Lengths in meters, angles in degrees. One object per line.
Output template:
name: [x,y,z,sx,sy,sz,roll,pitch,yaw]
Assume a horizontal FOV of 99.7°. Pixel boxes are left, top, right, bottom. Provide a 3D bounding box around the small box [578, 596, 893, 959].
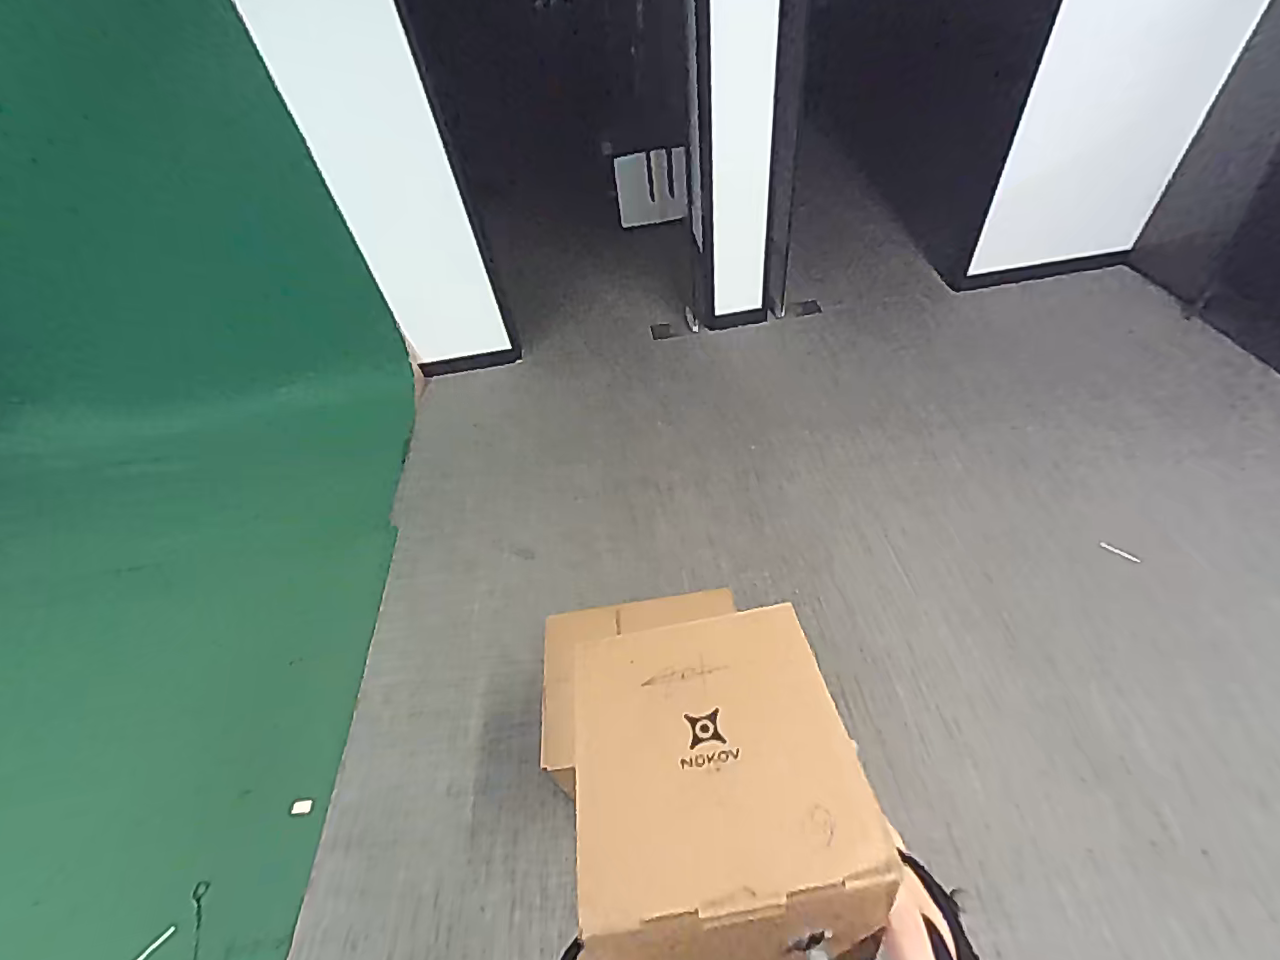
small box: [0.056,0.216,0.384,0.168,0.176,0.179,-11,35,1]
